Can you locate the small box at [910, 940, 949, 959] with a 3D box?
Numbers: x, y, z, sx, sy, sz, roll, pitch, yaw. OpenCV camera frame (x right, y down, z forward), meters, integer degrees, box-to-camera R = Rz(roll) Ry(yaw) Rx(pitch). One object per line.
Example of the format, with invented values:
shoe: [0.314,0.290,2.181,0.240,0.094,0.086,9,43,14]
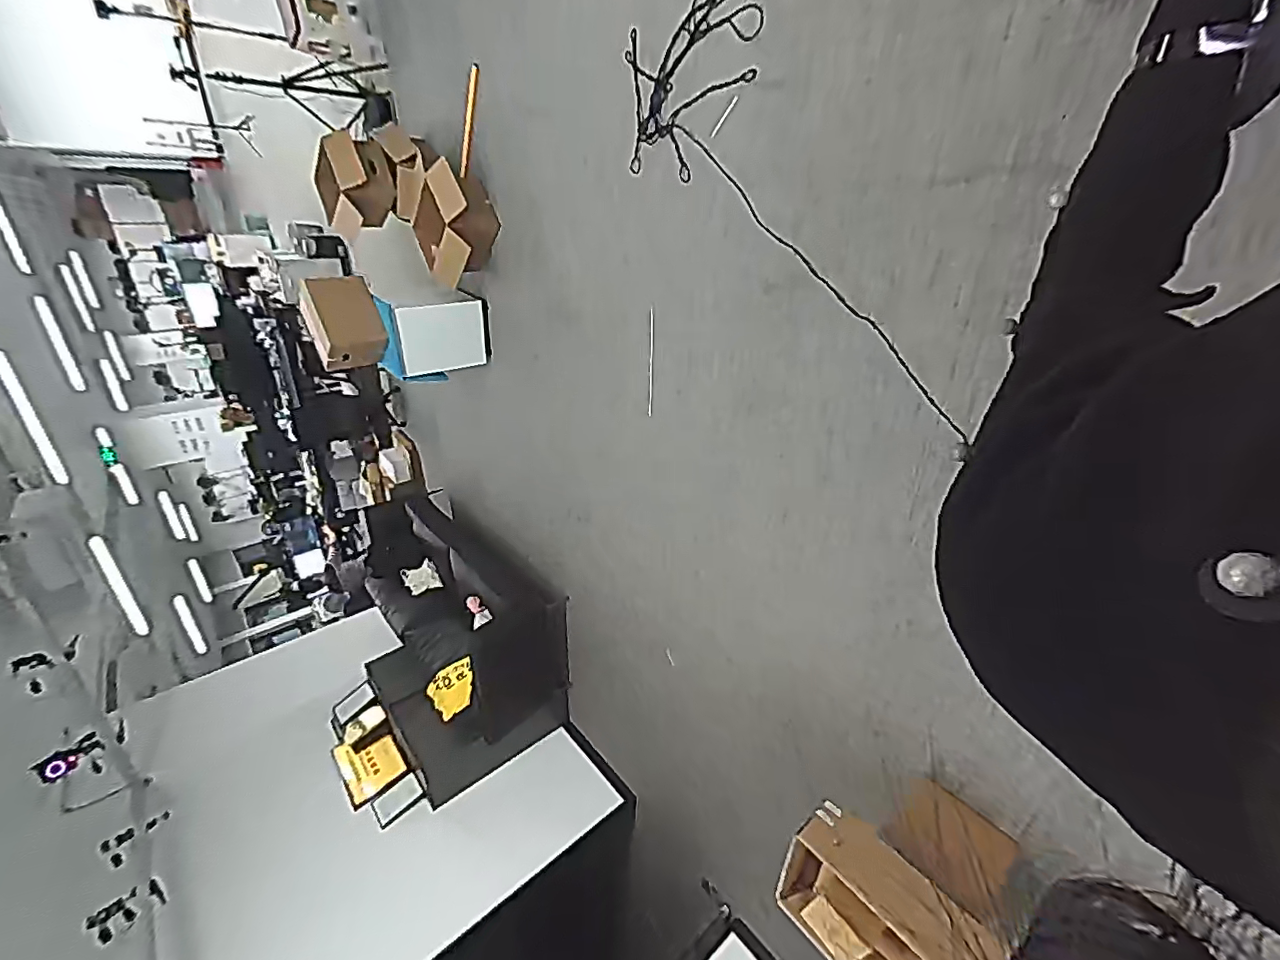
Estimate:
small box: [0.781,1.394,1.435,0.168,0.176,0.179,27,126,43]
